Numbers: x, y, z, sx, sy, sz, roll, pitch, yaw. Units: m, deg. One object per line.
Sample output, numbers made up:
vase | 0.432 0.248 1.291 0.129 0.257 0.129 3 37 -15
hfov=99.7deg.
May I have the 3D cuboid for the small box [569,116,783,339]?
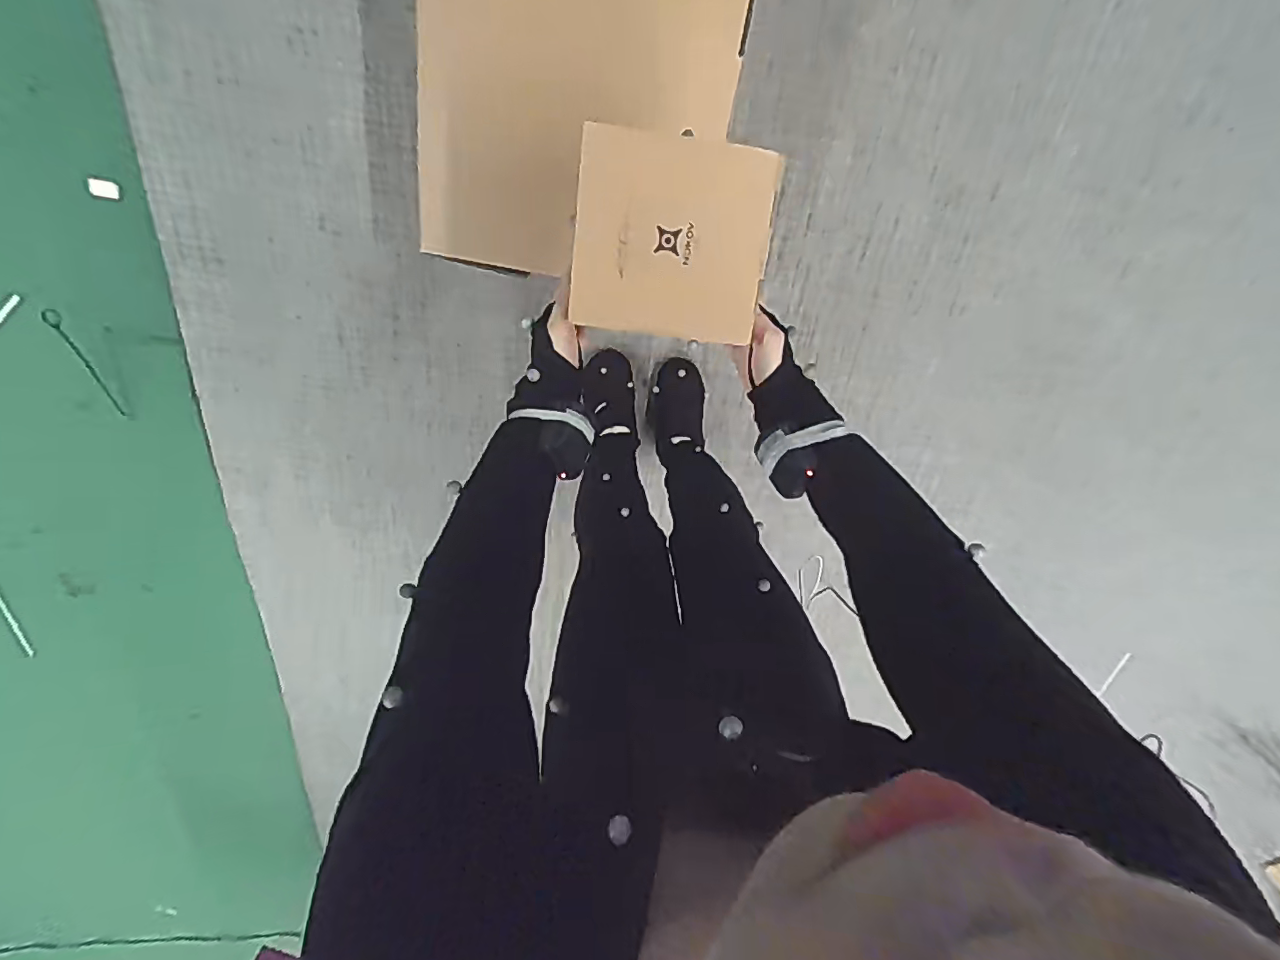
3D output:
small box | 0.024 -0.245 0.560 0.179 0.176 0.168 5 108 -6
